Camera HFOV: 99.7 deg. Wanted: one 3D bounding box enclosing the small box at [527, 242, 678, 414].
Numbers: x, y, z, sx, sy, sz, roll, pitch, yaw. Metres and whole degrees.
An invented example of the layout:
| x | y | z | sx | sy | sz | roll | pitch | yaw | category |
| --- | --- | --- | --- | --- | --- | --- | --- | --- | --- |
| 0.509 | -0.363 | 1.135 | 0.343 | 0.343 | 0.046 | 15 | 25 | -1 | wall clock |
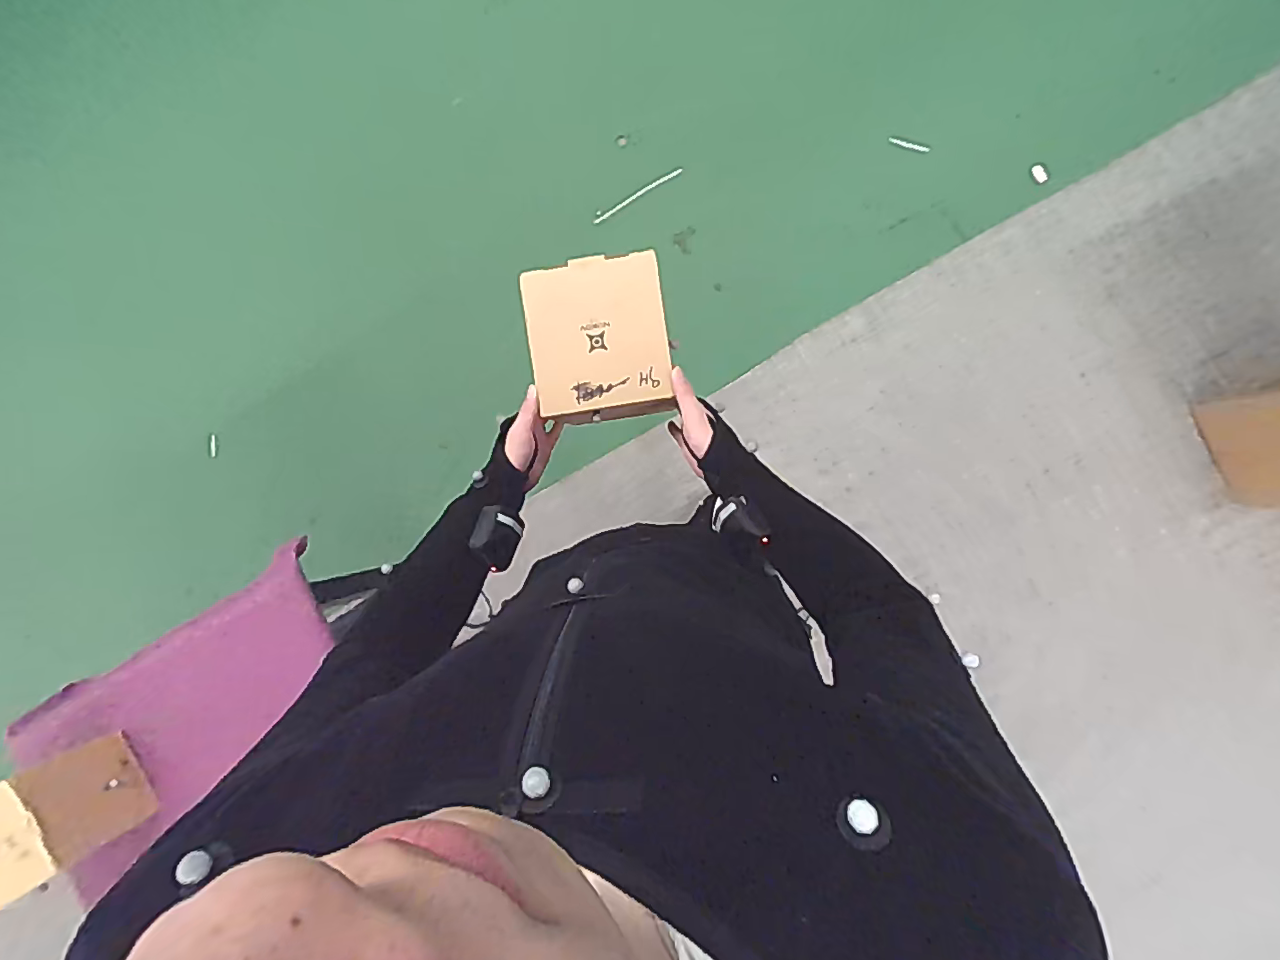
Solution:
| x | y | z | sx | sy | sz | roll | pitch | yaw | category |
| --- | --- | --- | --- | --- | --- | --- | --- | --- | --- |
| -0.040 | -0.190 | 0.725 | 0.168 | 0.176 | 0.179 | -7 | 92 | 6 | small box |
